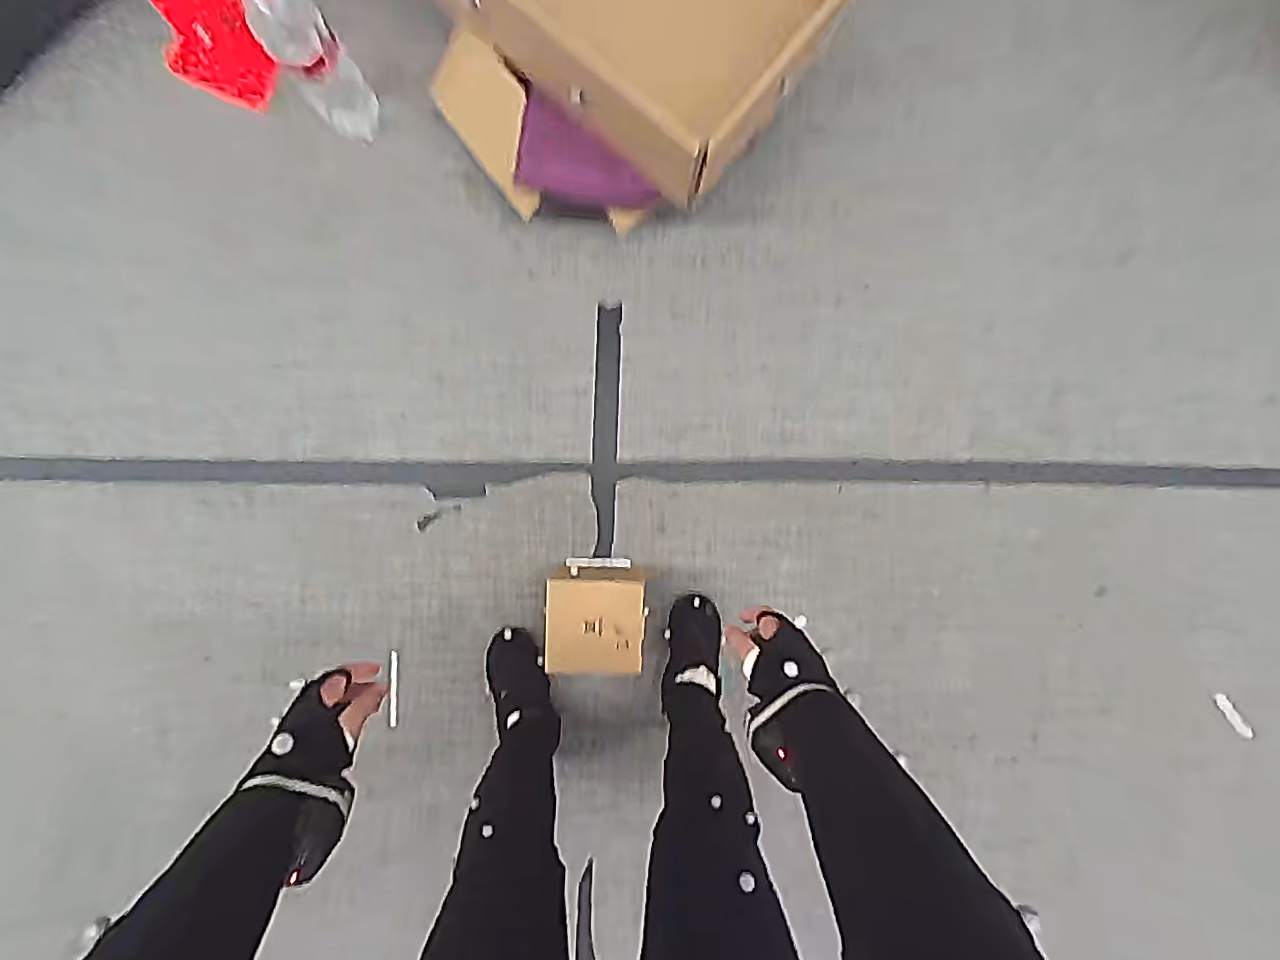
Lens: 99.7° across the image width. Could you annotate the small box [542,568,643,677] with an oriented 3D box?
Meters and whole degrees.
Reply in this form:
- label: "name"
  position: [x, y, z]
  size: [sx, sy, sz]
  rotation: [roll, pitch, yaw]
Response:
- label: "small box"
  position: [-0.088, 0.268, 1.045]
  size: [0.179, 0.176, 0.168]
  rotation: [2, 92, -3]
